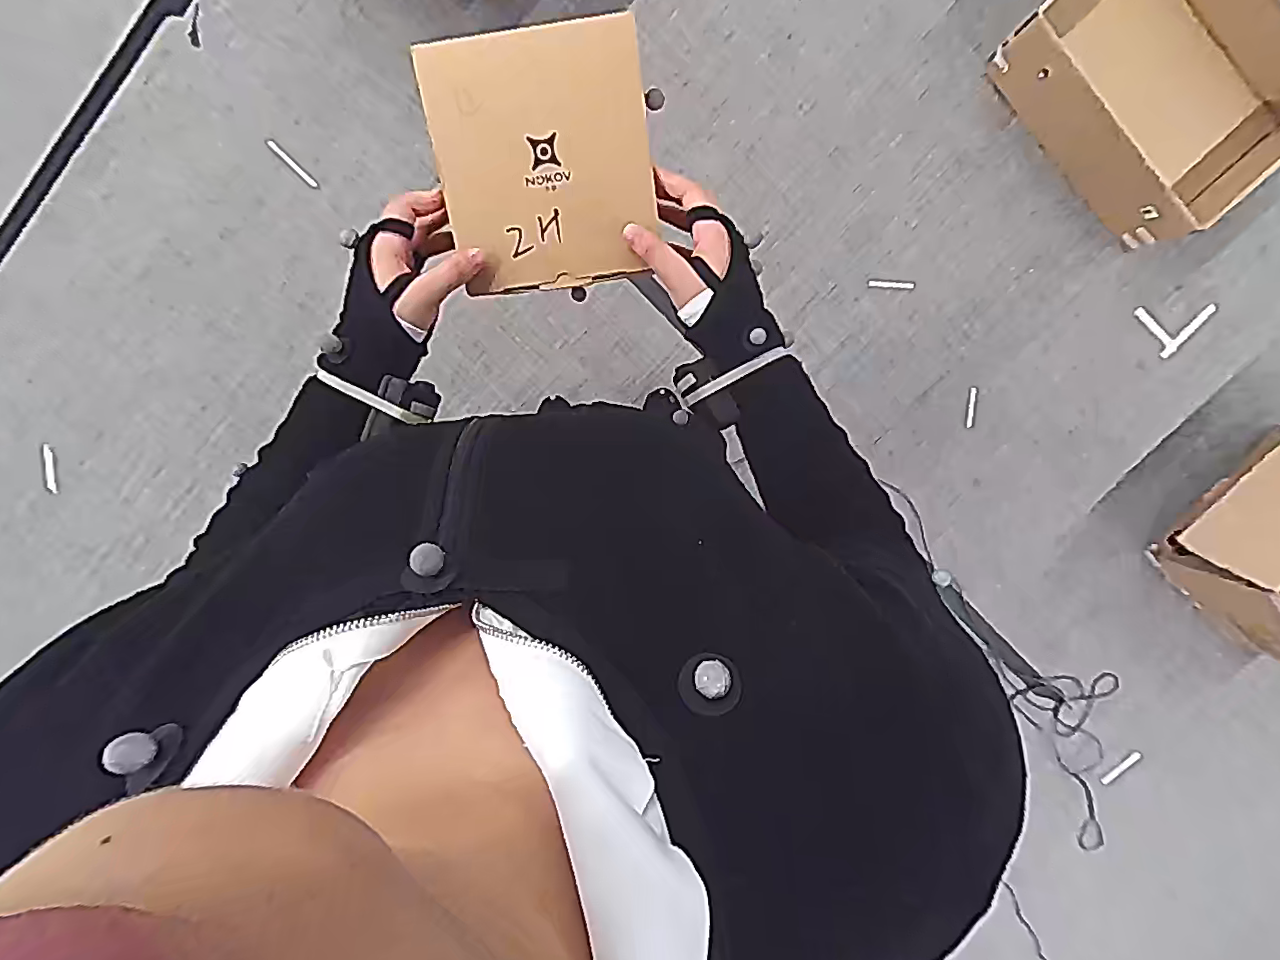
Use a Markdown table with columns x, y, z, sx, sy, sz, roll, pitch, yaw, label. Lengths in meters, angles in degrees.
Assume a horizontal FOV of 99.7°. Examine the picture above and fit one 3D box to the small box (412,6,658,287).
| x | y | z | sx | sy | sz | roll | pitch | yaw | label |
| --- | --- | --- | --- | --- | --- | --- | --- | --- | --- |
| -0.078 | -0.275 | 0.490 | 0.168 | 0.176 | 0.179 | -7 | 111 | 1 | small box |
